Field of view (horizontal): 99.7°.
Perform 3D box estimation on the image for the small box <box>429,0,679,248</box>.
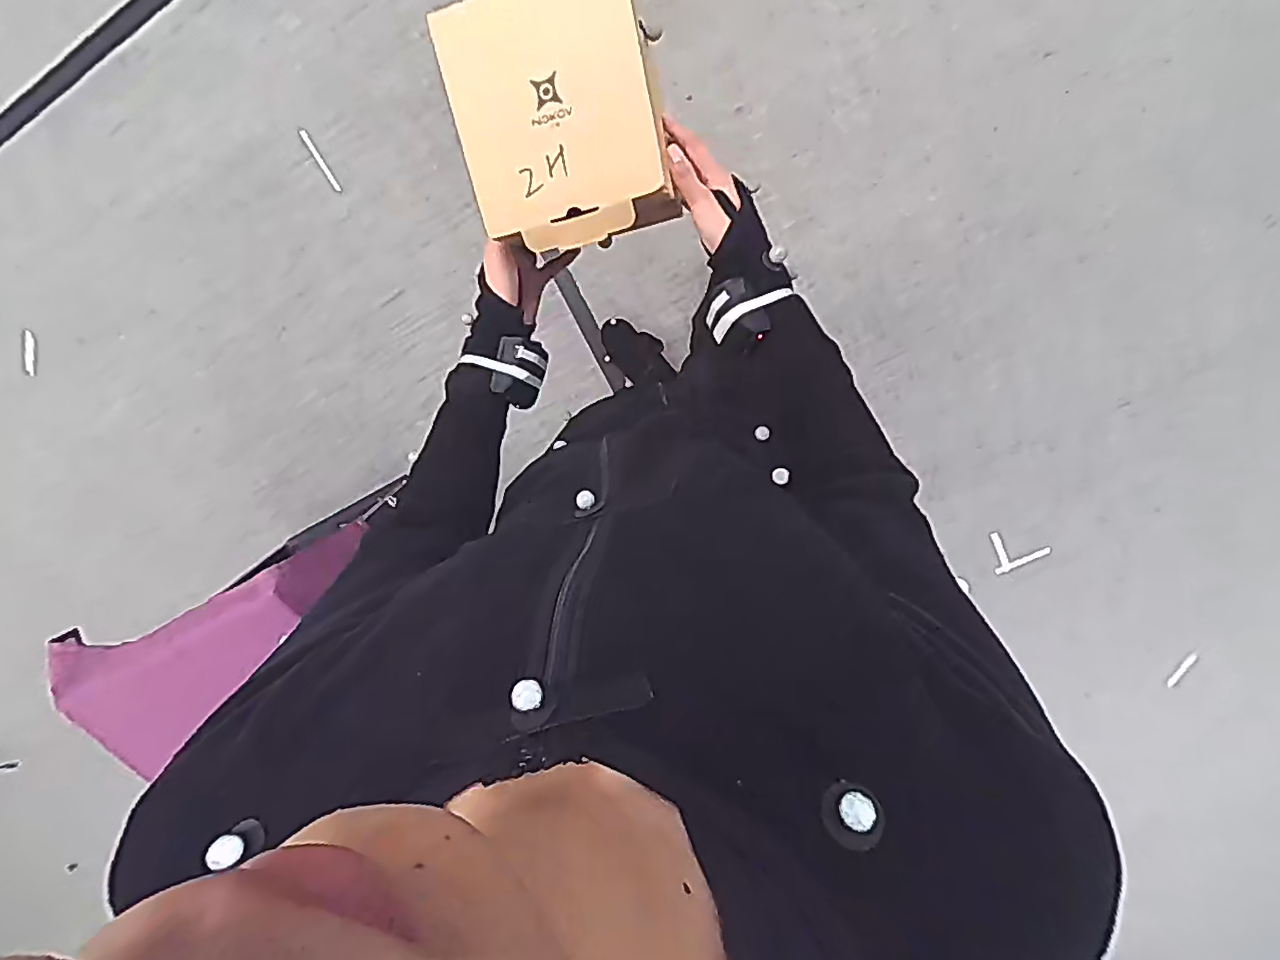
[{"bbox_3d":[-0.063,-0.337,0.516,0.168,0.176,0.179,-9,108,13],"label":"small box"}]
